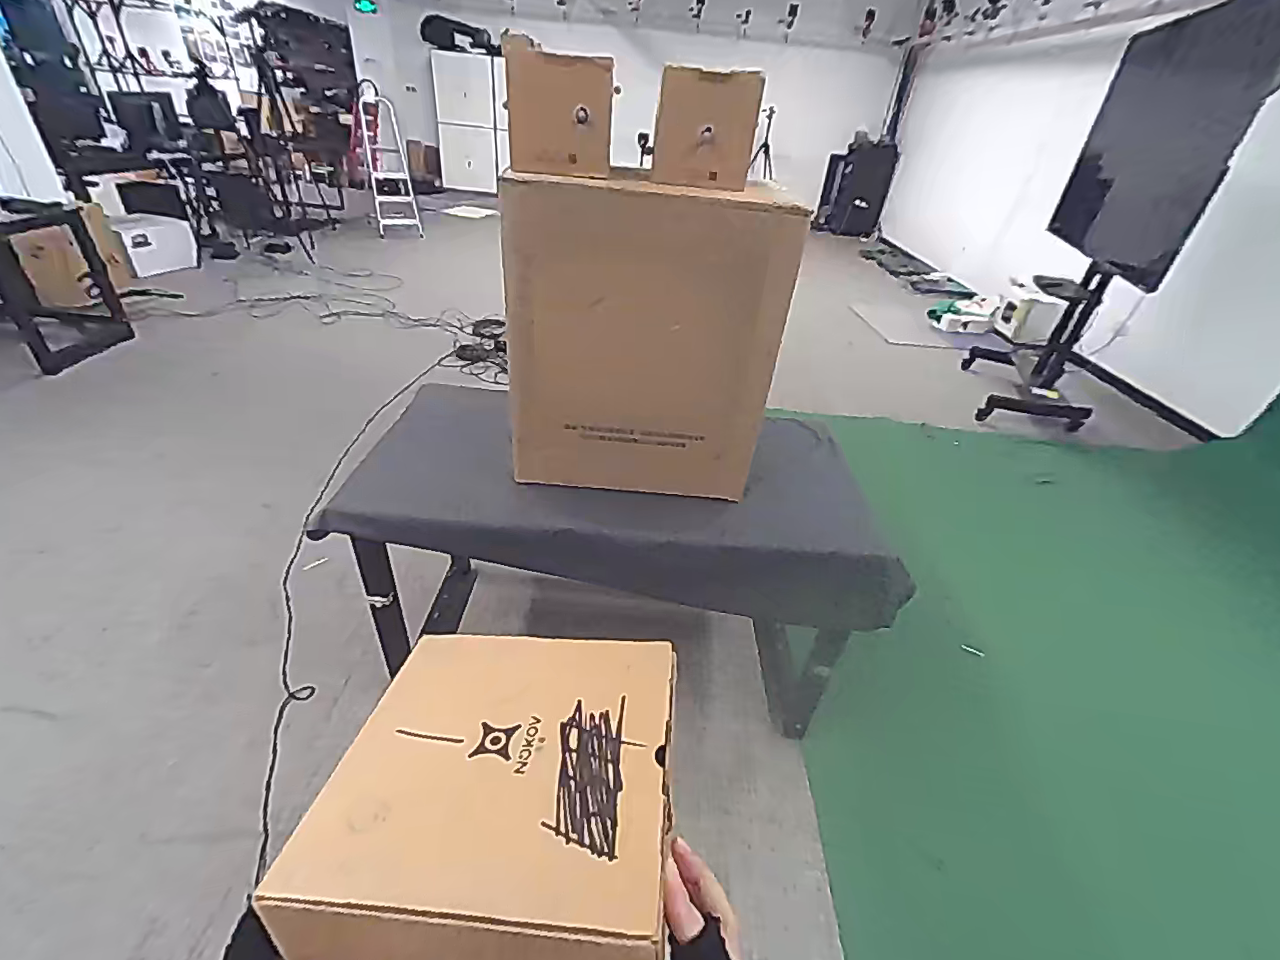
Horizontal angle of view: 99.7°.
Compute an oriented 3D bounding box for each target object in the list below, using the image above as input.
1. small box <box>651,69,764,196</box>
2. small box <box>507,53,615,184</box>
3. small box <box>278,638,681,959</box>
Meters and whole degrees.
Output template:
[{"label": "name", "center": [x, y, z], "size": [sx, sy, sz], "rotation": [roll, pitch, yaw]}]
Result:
[{"label": "small box", "center": [0.111, -0.615, 0.958], "size": [0.168, 0.176, 0.179], "rotation": [5, 37, -3]}, {"label": "small box", "center": [-0.131, -0.622, 0.936], "size": [0.168, 0.176, 0.179], "rotation": [3, 36, -5]}, {"label": "small box", "center": [-0.070, 0.223, 0.337], "size": [0.179, 0.176, 0.168], "rotation": [2, 27, 1]}]
